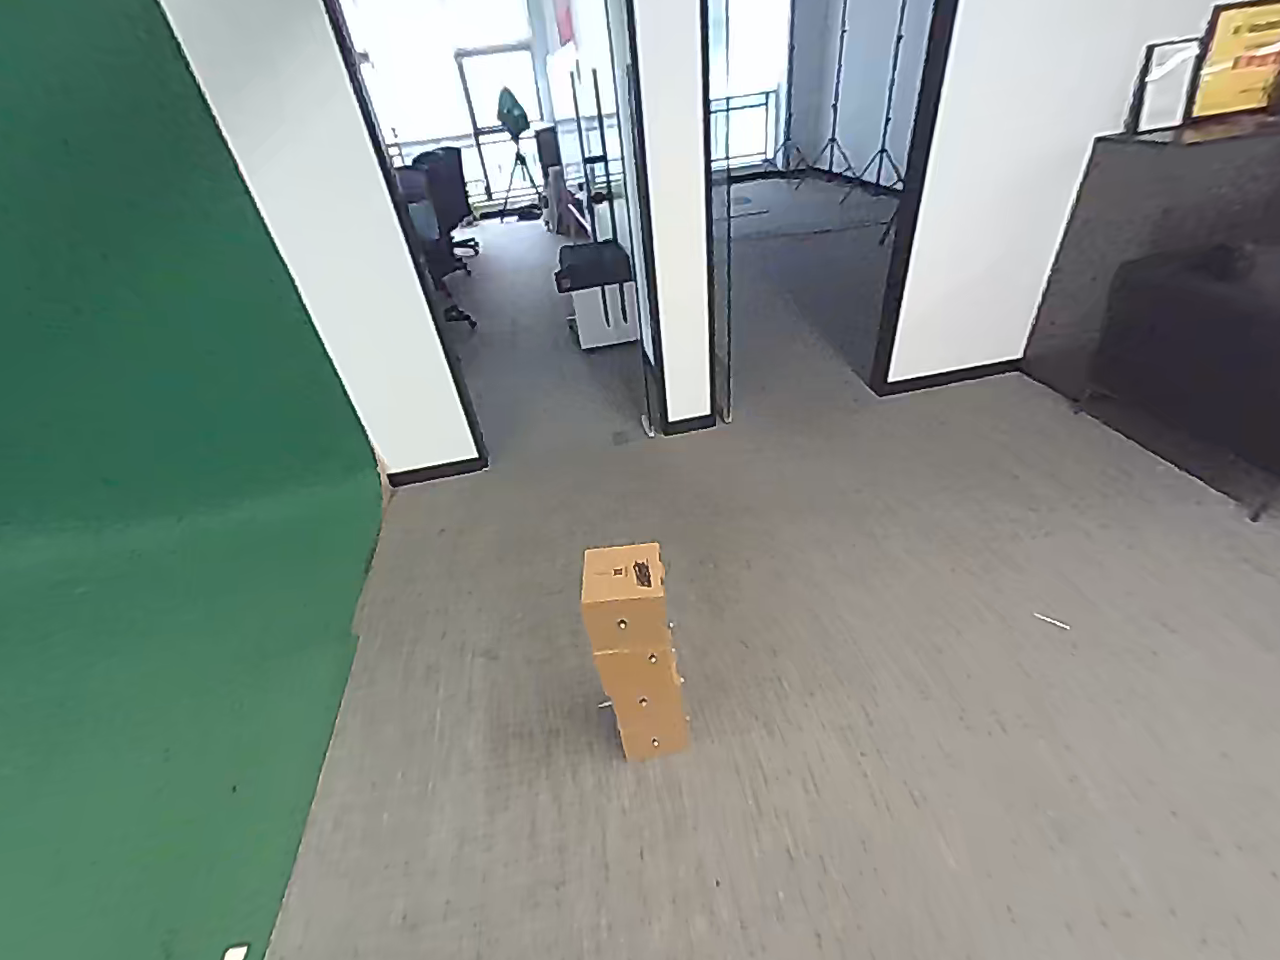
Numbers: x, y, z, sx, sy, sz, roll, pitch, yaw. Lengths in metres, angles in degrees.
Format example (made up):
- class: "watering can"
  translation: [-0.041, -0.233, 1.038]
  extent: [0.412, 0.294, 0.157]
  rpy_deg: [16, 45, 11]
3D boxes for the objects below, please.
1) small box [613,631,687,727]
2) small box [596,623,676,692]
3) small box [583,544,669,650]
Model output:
- class: "small box"
  translation: [0.021, 0.531, 1.437]
  extent: [0.179, 0.176, 0.168]
  rpy_deg: [-9, 38, -1]
- class: "small box"
  translation: [-0.010, 0.404, 1.339]
  extent: [0.179, 0.176, 0.168]
  rpy_deg: [-7, 37, 1]
- class: "small box"
  translation: [-0.026, 0.271, 1.244]
  extent: [0.179, 0.176, 0.168]
  rpy_deg: [-7, 36, 3]
